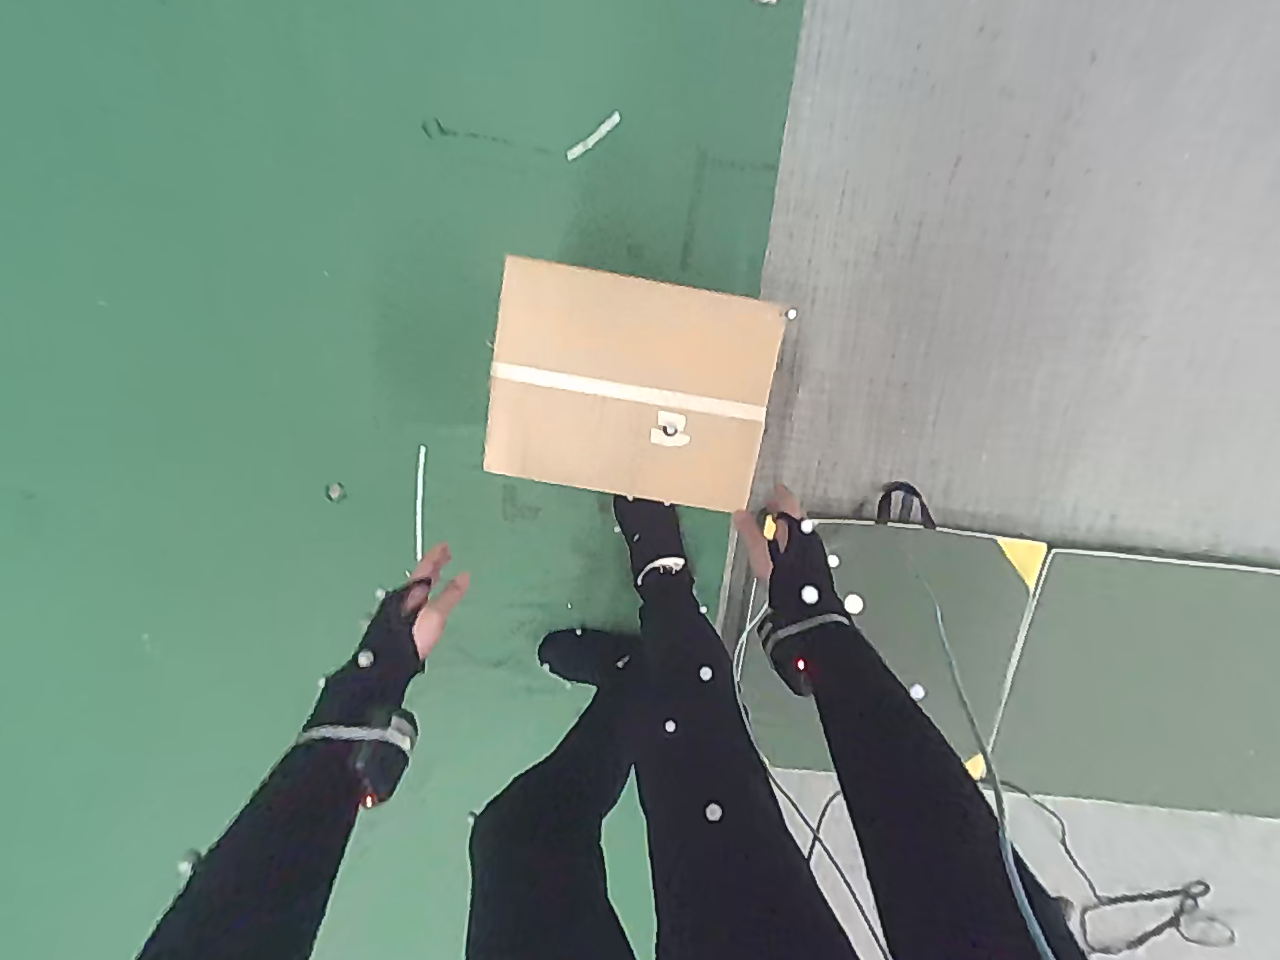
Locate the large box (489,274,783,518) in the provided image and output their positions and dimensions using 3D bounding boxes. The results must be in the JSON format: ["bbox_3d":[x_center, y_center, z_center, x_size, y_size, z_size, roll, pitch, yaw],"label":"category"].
[{"bbox_3d":[-0.015,-0.145,0.941,0.408,0.320,0.320,9,102,-3],"label":"large box"}]
